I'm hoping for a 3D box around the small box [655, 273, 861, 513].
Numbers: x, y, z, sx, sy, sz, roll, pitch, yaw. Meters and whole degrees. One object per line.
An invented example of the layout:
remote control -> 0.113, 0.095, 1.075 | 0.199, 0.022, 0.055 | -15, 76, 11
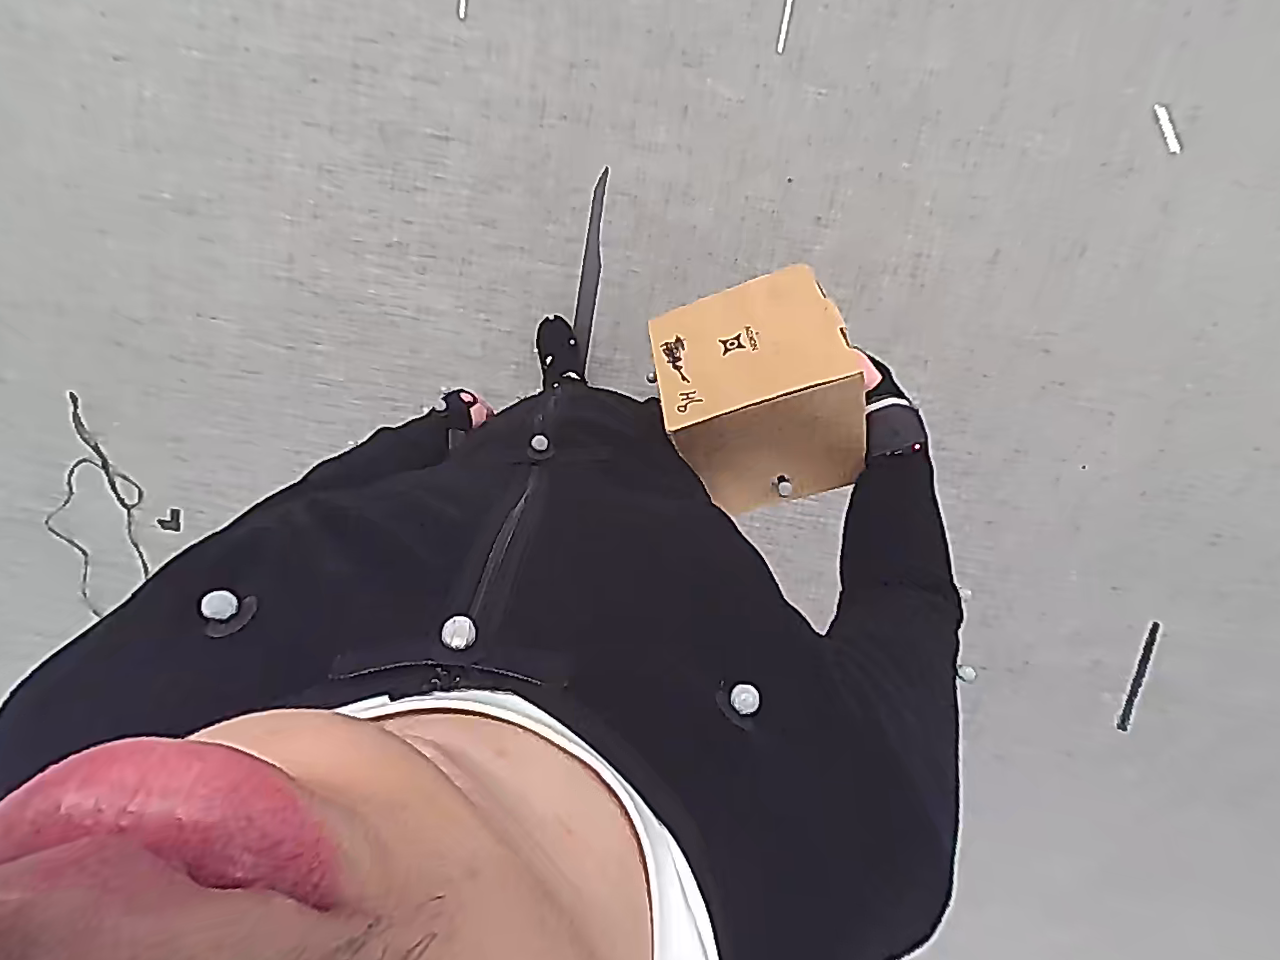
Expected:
small box -> 0.129, -0.087, 0.596 | 0.179, 0.168, 0.176 | -16, 141, 12
